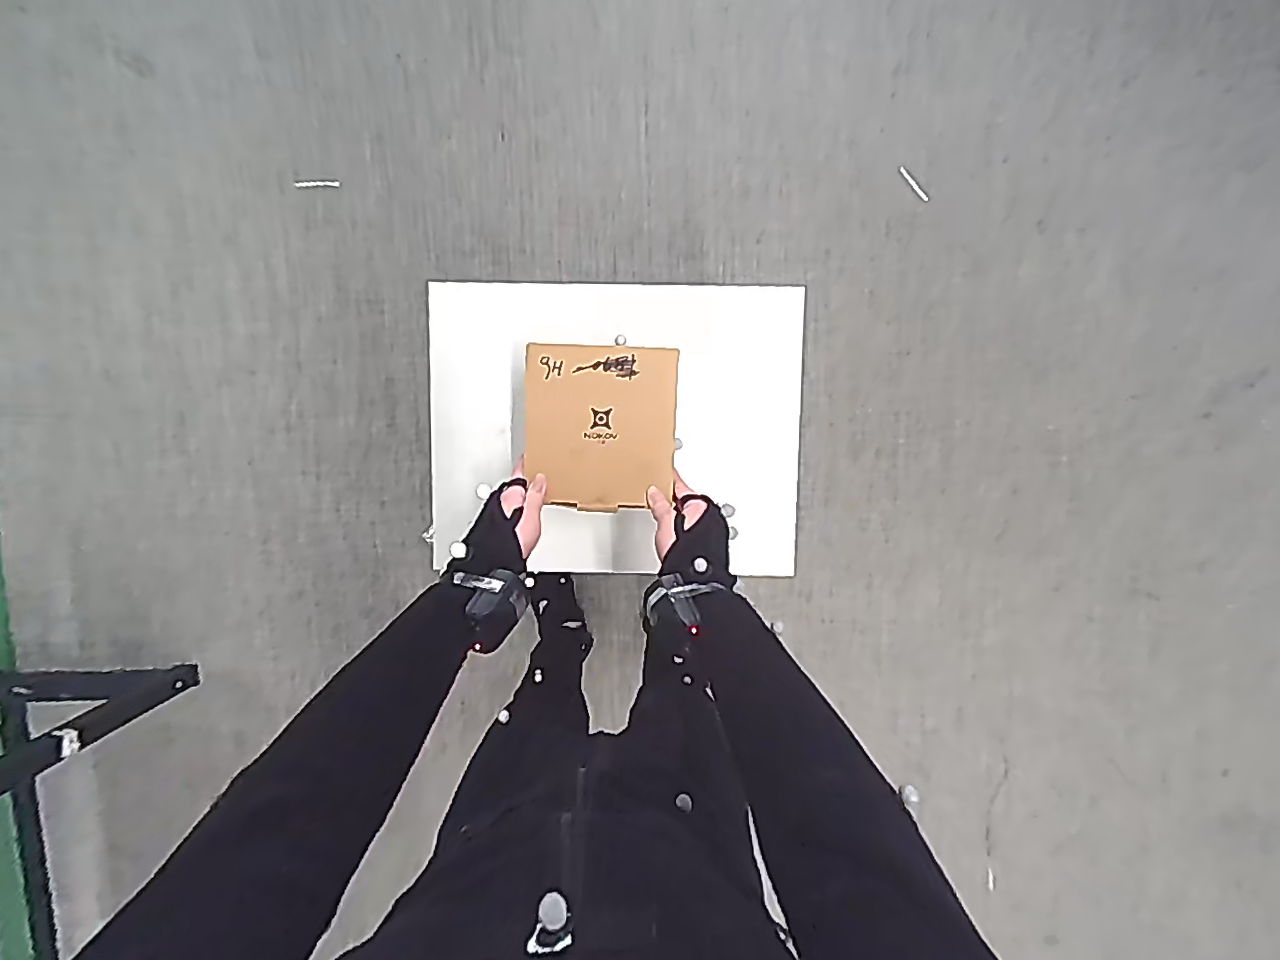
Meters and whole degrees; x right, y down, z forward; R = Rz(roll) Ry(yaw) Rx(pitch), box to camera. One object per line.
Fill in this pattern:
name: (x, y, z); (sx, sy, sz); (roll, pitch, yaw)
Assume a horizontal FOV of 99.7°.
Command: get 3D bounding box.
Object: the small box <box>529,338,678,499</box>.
small box: (-0.039, -0.074, 0.673); (0.168, 0.176, 0.179); (0, 94, 1)
